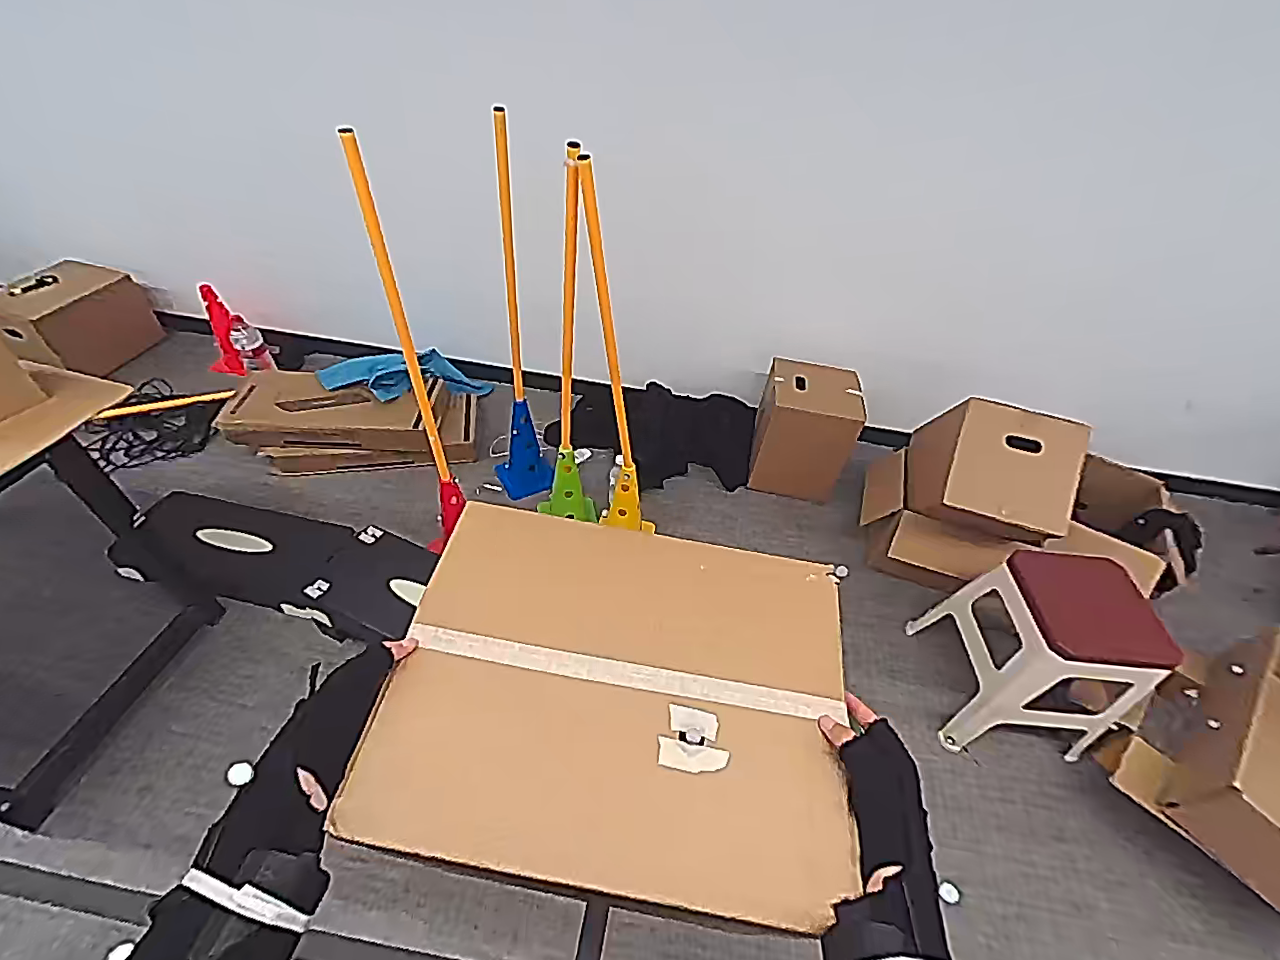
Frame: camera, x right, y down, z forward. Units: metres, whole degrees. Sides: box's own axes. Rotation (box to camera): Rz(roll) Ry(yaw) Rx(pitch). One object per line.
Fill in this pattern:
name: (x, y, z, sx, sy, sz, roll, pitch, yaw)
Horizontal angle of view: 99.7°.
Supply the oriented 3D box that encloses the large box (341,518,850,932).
large box: (-0.030, 0.282, 0.617, 0.408, 0.320, 0.320, 11, 52, 2)
